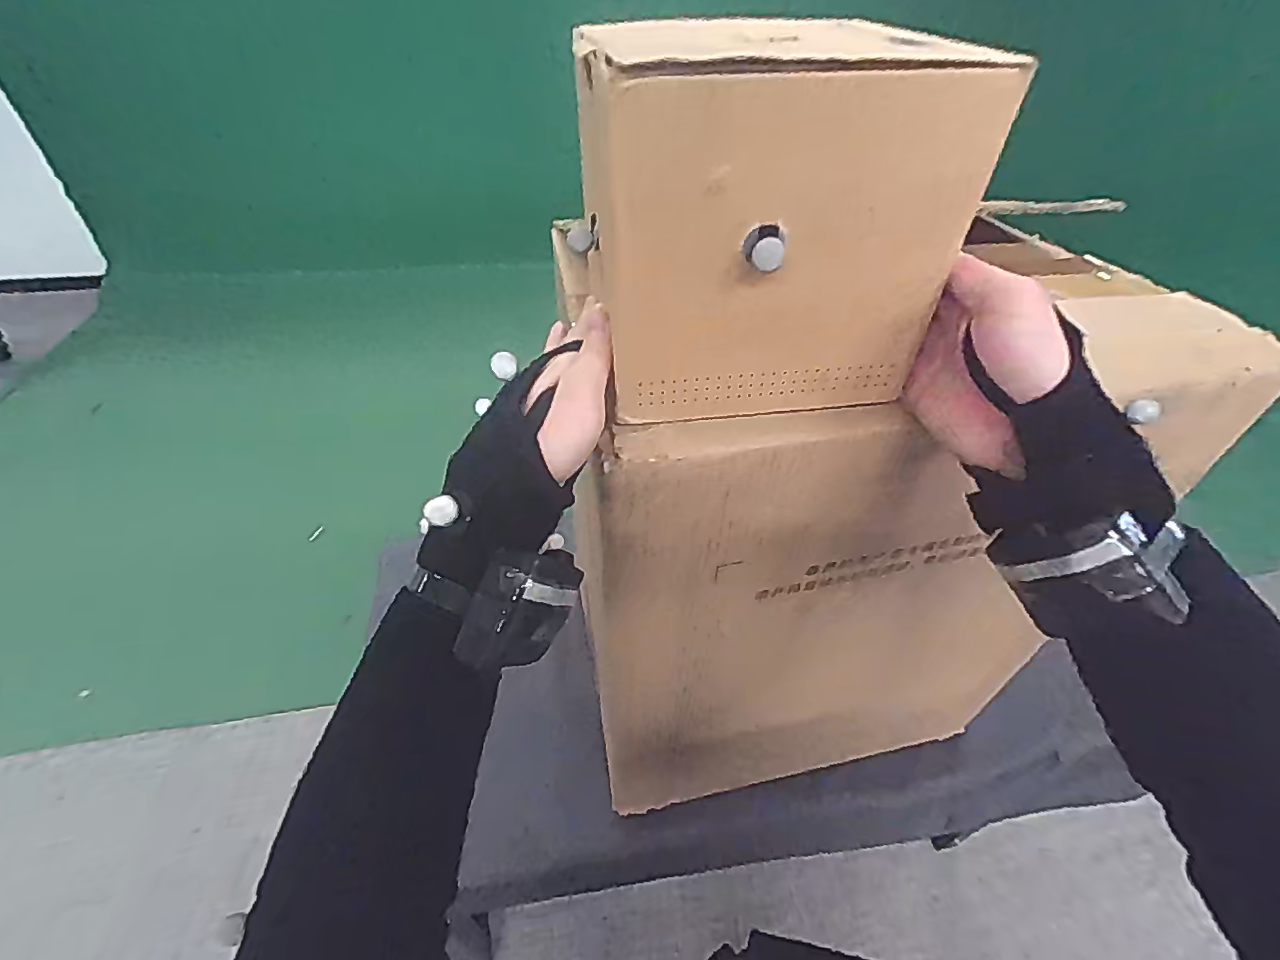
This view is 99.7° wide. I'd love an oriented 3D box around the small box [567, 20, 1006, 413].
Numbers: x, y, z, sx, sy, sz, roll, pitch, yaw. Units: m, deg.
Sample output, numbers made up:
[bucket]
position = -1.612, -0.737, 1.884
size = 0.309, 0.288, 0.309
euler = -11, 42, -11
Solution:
[small box]
position = 0.057, -0.155, 0.324
size = 0.179, 0.176, 0.168
euler = -7, 46, -6
